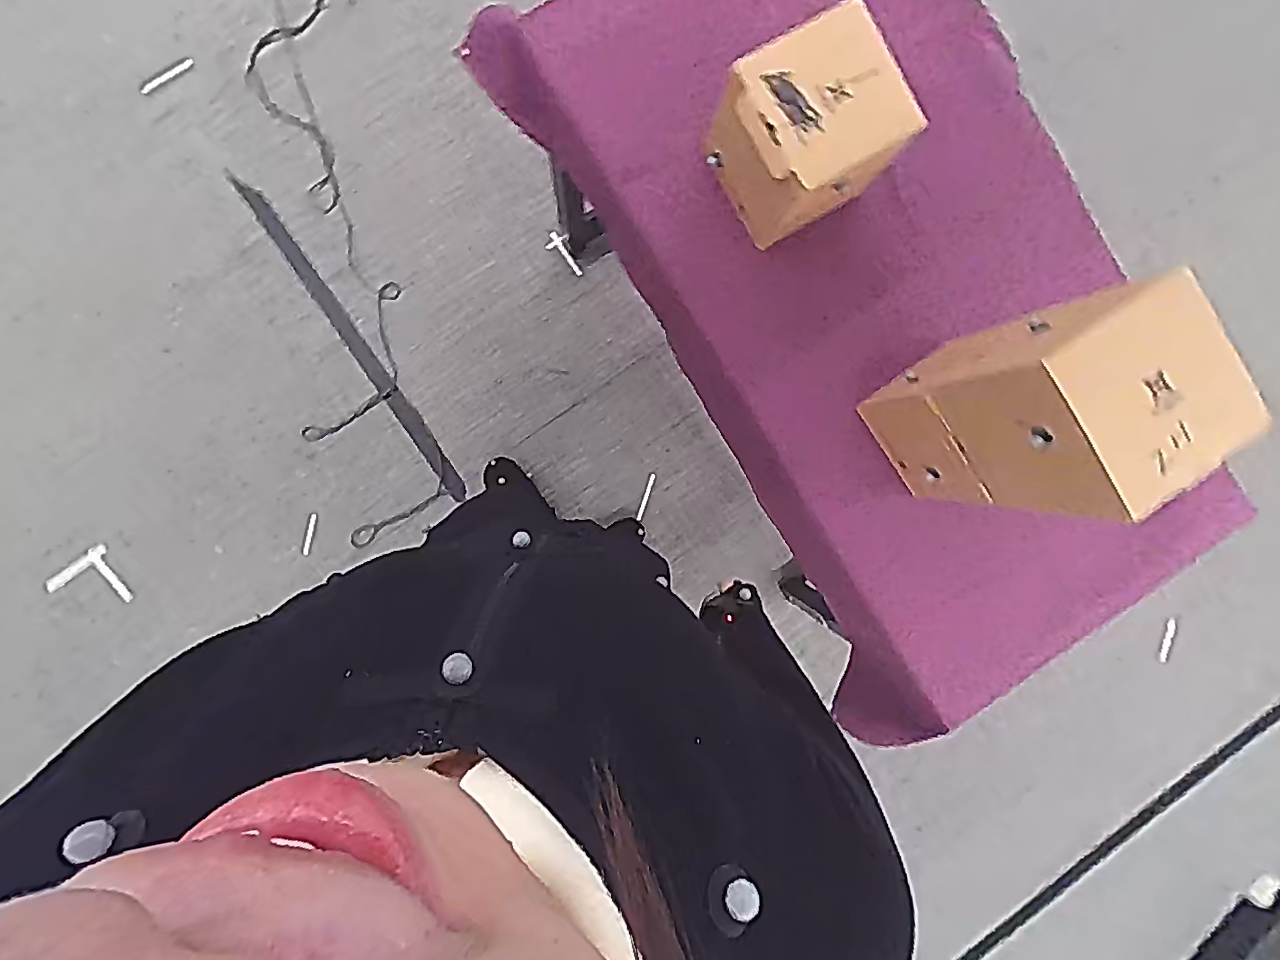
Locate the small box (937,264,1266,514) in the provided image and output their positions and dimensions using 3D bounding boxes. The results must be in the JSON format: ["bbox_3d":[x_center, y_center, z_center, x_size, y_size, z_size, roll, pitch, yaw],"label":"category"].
[{"bbox_3d":[0.459,-0.085,0.568,0.168,0.176,0.179,-33,95,-2],"label":"small box"}]

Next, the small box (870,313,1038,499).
[{"bbox_3d":[0.443,-0.091,0.731,0.179,0.176,0.168,-34,95,-3],"label":"small box"}]

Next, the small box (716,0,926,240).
[{"bbox_3d":[0.213,-0.446,0.697,0.179,0.176,0.168,-31,95,-4],"label":"small box"}]

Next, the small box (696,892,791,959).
[{"bbox_3d":[0.249,1.164,1.310,0.168,0.176,0.179,35,92,-2],"label":"small box"}]
